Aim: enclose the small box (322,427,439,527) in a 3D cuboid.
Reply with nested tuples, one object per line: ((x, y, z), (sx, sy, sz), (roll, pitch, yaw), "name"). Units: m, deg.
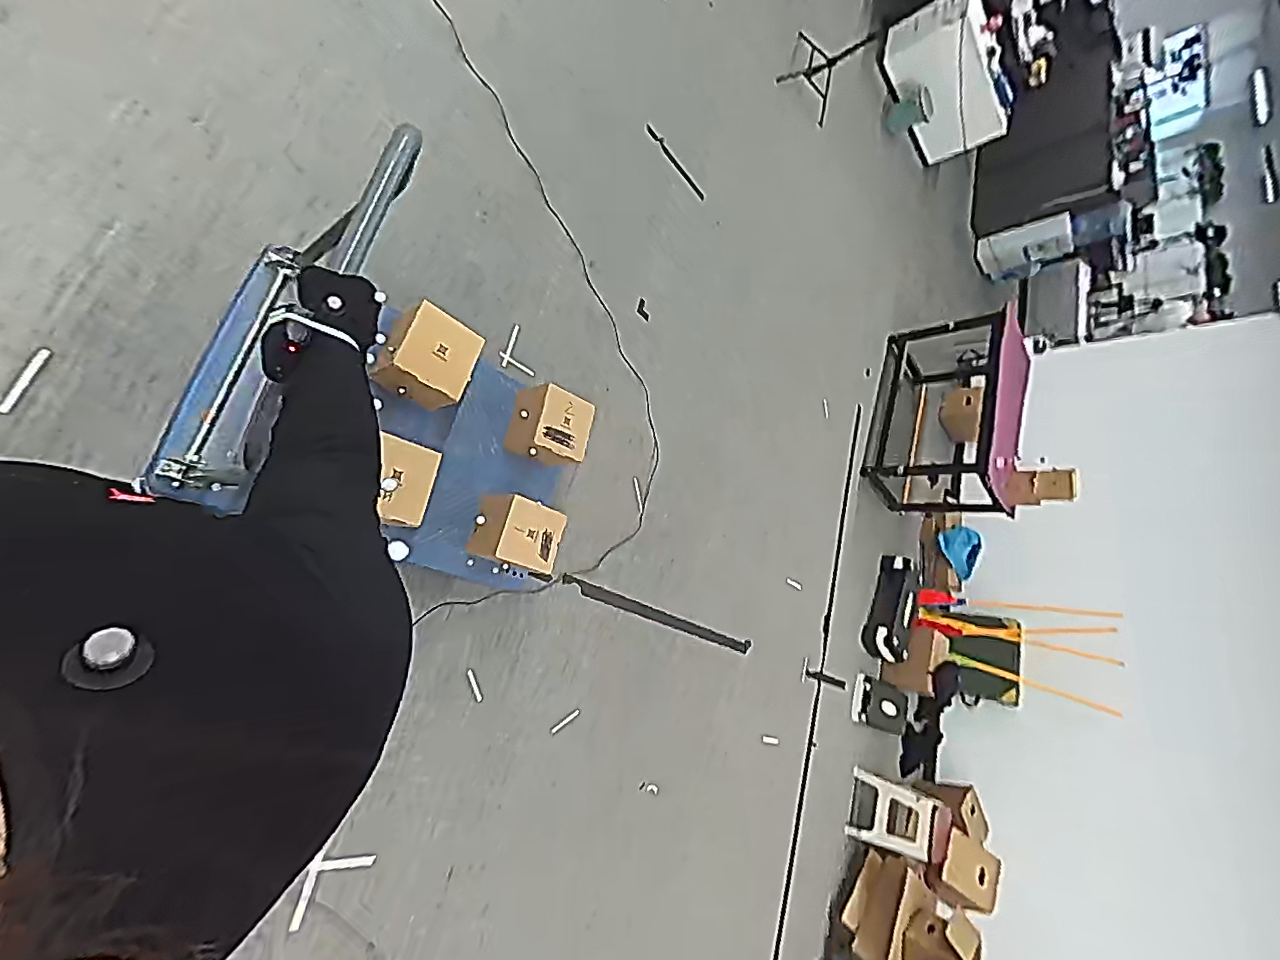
((-0.584, -0.001, 1.214), (0.168, 0.176, 0.179), (25, 71, -41), "small box")

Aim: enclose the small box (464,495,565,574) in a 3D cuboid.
((-0.337, 0.144, 1.452), (0.179, 0.176, 0.168), (28, 69, -39), "small box")

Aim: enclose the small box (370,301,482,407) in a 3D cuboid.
((-0.517, -0.293, 1.296), (0.168, 0.176, 0.179), (31, 68, -40), "small box")
